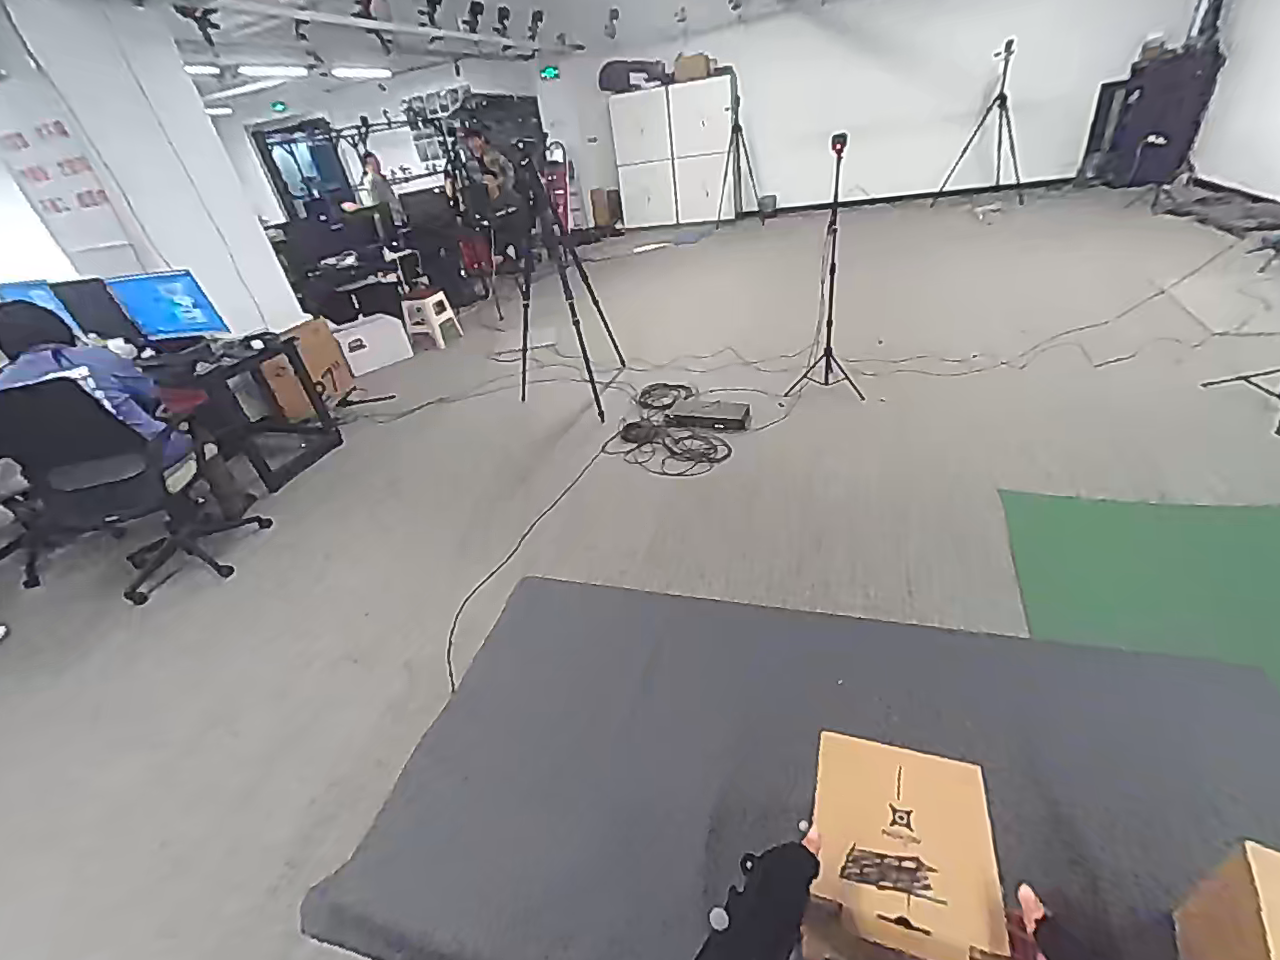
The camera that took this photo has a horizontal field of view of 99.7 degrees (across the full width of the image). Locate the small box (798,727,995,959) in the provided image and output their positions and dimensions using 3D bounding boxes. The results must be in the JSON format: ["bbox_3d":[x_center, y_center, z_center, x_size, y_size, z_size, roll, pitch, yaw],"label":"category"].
[{"bbox_3d":[0.267,0.415,0.592,0.168,0.176,0.179,5,35,21],"label":"small box"}]
